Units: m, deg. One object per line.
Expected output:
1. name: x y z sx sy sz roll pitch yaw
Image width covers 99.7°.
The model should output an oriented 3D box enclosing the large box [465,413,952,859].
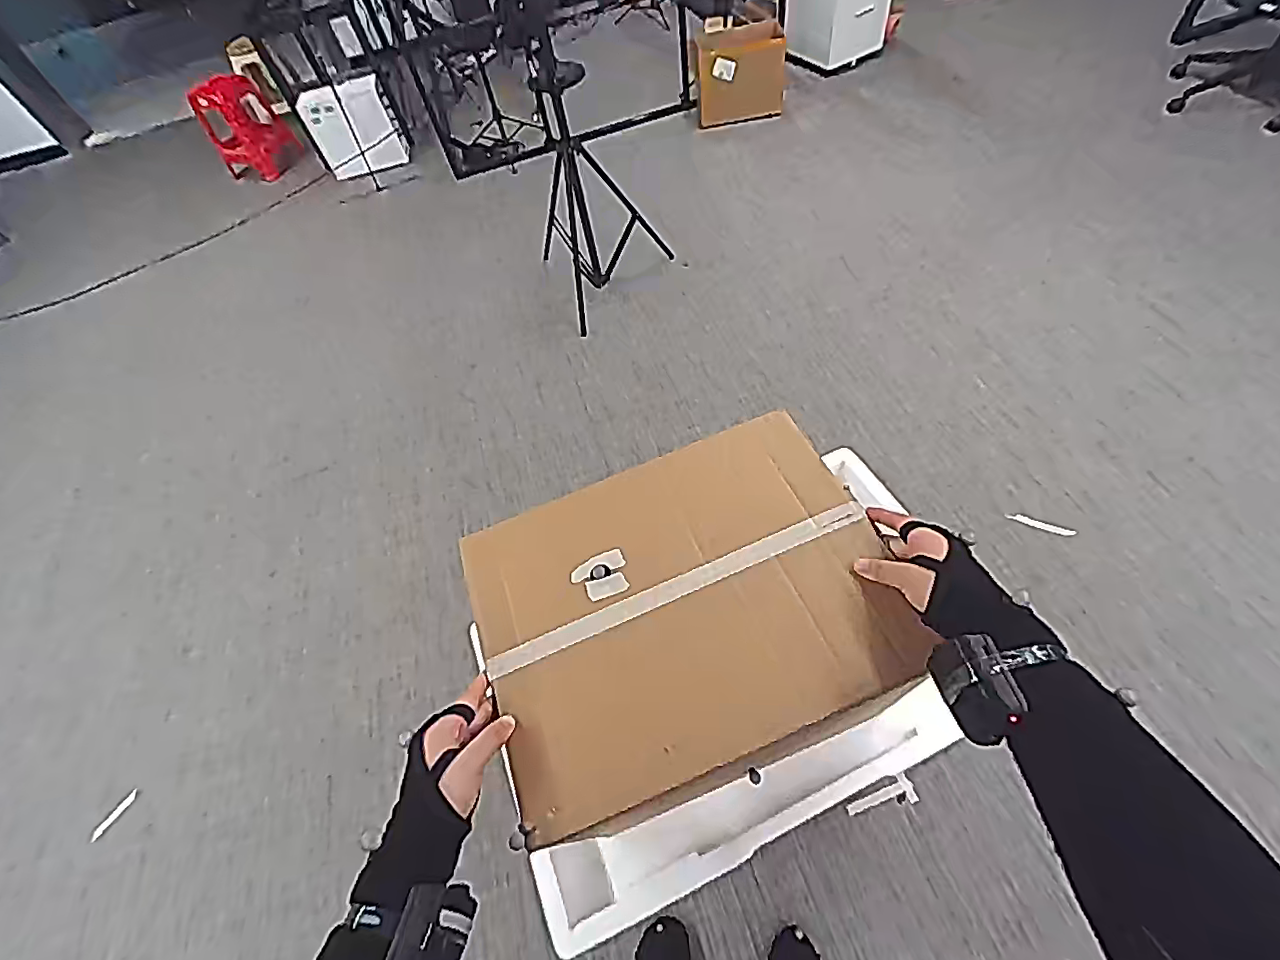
1. large box: 0.066 0.191 0.659 0.408 0.320 0.320 -24 55 -4
